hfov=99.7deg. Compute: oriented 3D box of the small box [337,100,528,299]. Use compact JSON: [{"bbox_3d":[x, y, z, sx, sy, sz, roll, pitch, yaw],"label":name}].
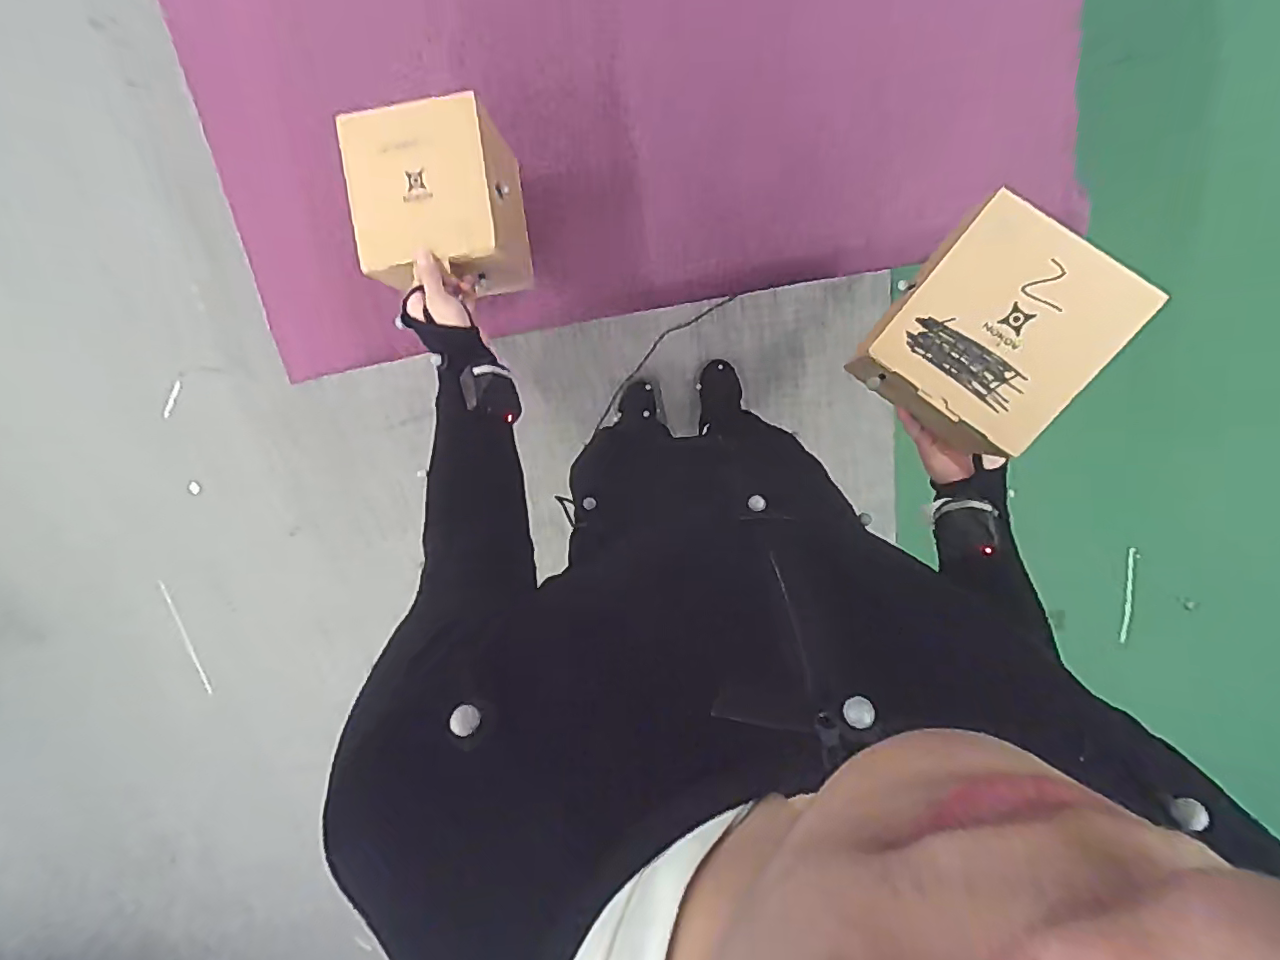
[{"bbox_3d":[-0.252,-0.341,0.697,0.168,0.176,0.179,-6,95,3],"label":"small box"}]
